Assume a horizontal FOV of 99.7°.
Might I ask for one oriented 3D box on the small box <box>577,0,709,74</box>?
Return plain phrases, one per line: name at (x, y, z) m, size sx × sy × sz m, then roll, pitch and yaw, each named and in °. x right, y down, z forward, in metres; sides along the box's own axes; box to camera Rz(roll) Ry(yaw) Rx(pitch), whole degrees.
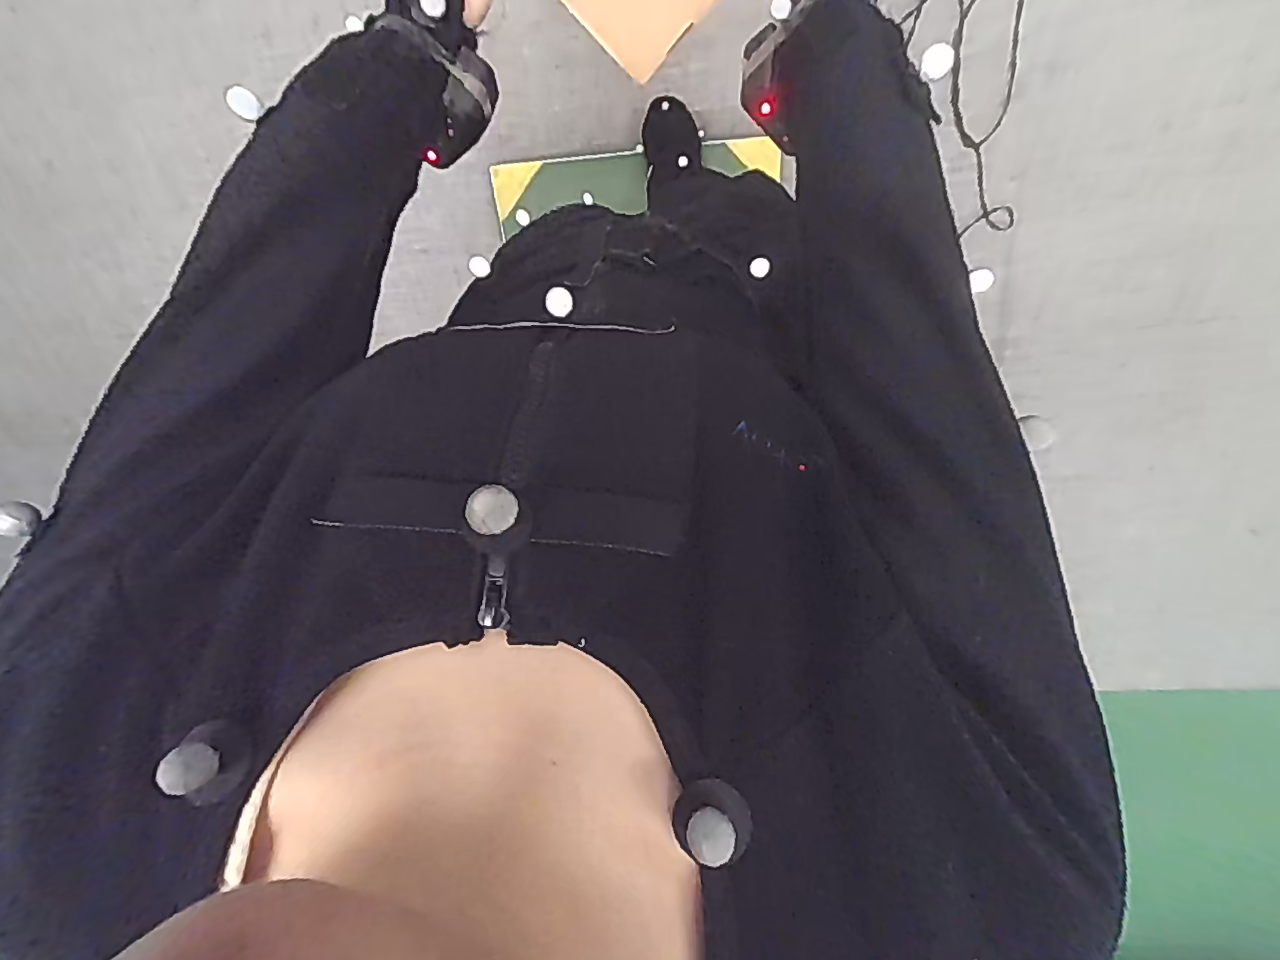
small box at (0.001, -0.476, 0.409) m, size 0.179 × 0.176 × 0.168 m, roll 29°, pitch 137°, yaw -32°
